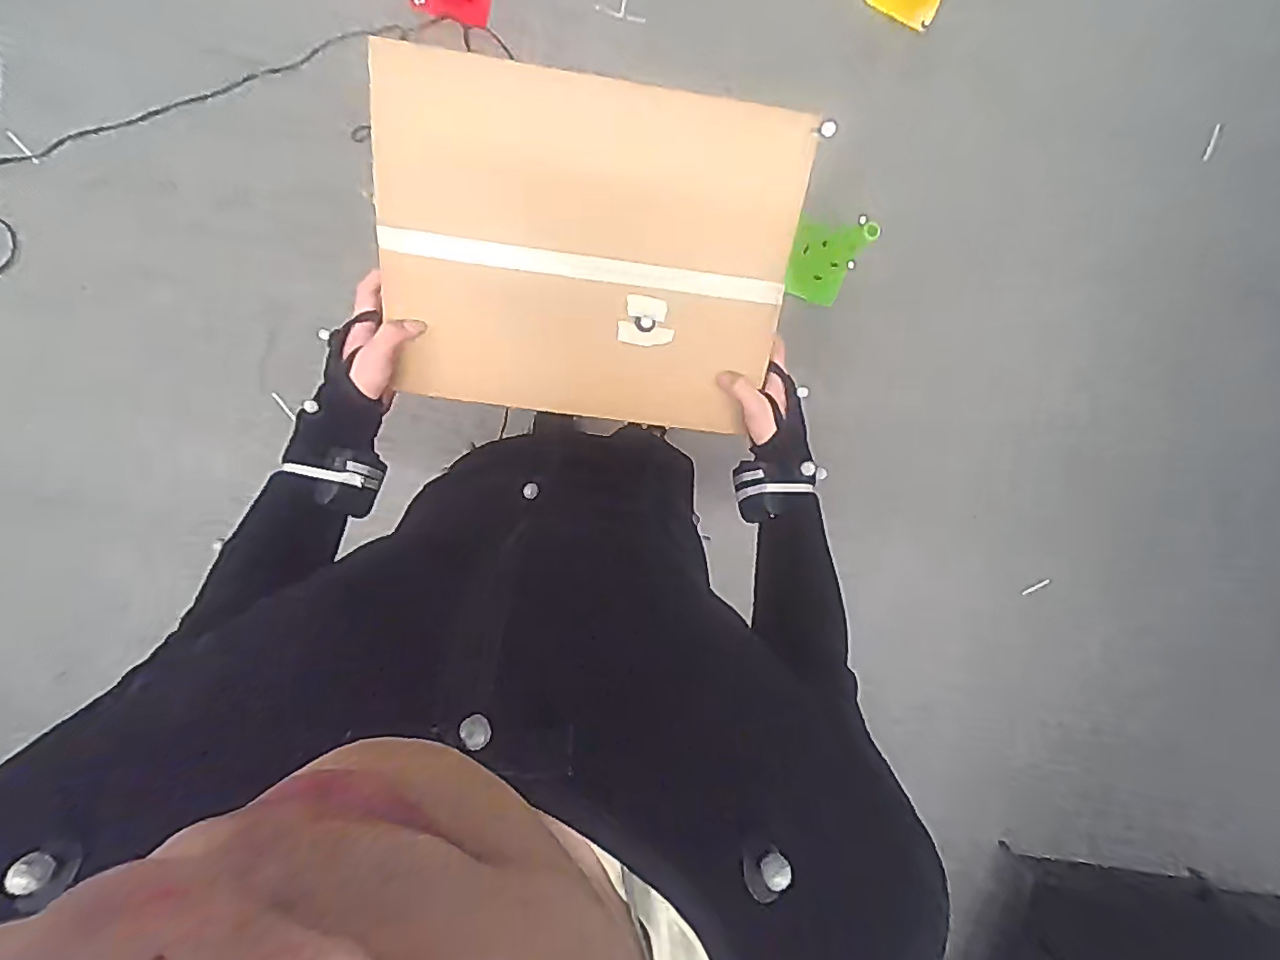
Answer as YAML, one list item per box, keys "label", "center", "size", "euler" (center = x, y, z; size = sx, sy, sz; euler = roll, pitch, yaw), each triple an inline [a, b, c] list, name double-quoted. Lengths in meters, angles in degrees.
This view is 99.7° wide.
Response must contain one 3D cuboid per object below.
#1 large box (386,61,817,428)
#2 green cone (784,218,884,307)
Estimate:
- label: "large box"
  center: [-0.053, -0.275, 0.688]
  size: [0.408, 0.320, 0.320]
  euler: [6, 115, -5]
- label: "green cone"
  center: [0.517, -0.593, 1.391]
  size: [0.200, 0.368, 0.202]
  euler: [17, 98, -7]
